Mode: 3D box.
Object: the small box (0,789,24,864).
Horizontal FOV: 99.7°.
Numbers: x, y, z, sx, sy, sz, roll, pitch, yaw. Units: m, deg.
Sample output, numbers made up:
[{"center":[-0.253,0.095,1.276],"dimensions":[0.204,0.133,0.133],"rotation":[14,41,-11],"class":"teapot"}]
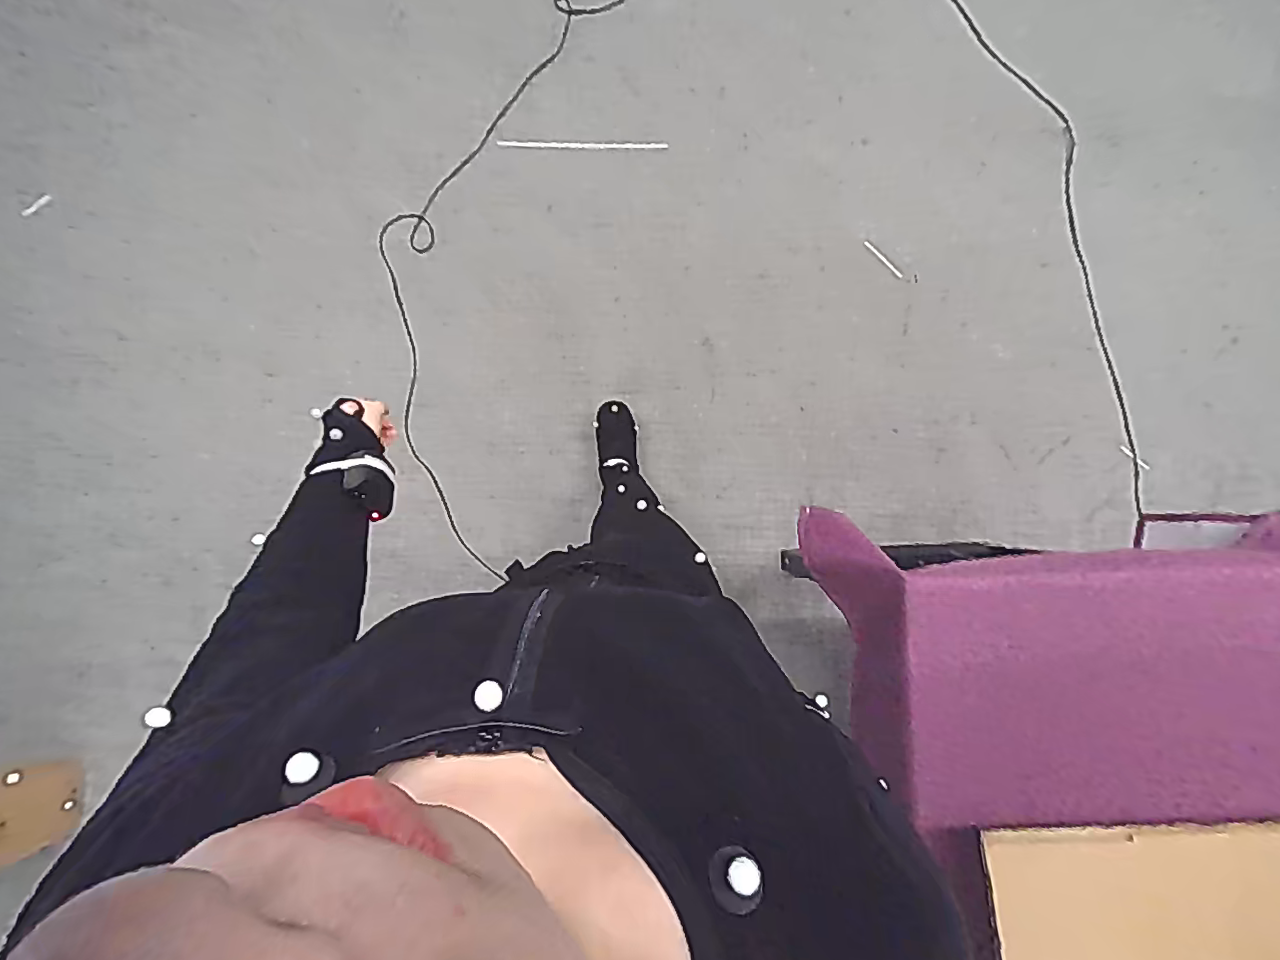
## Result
[{"center":[-1.582,0.826,1.226],"dimensions":[0.179,0.176,0.168],"rotation":[-2,87,0],"class":"small box"}]
